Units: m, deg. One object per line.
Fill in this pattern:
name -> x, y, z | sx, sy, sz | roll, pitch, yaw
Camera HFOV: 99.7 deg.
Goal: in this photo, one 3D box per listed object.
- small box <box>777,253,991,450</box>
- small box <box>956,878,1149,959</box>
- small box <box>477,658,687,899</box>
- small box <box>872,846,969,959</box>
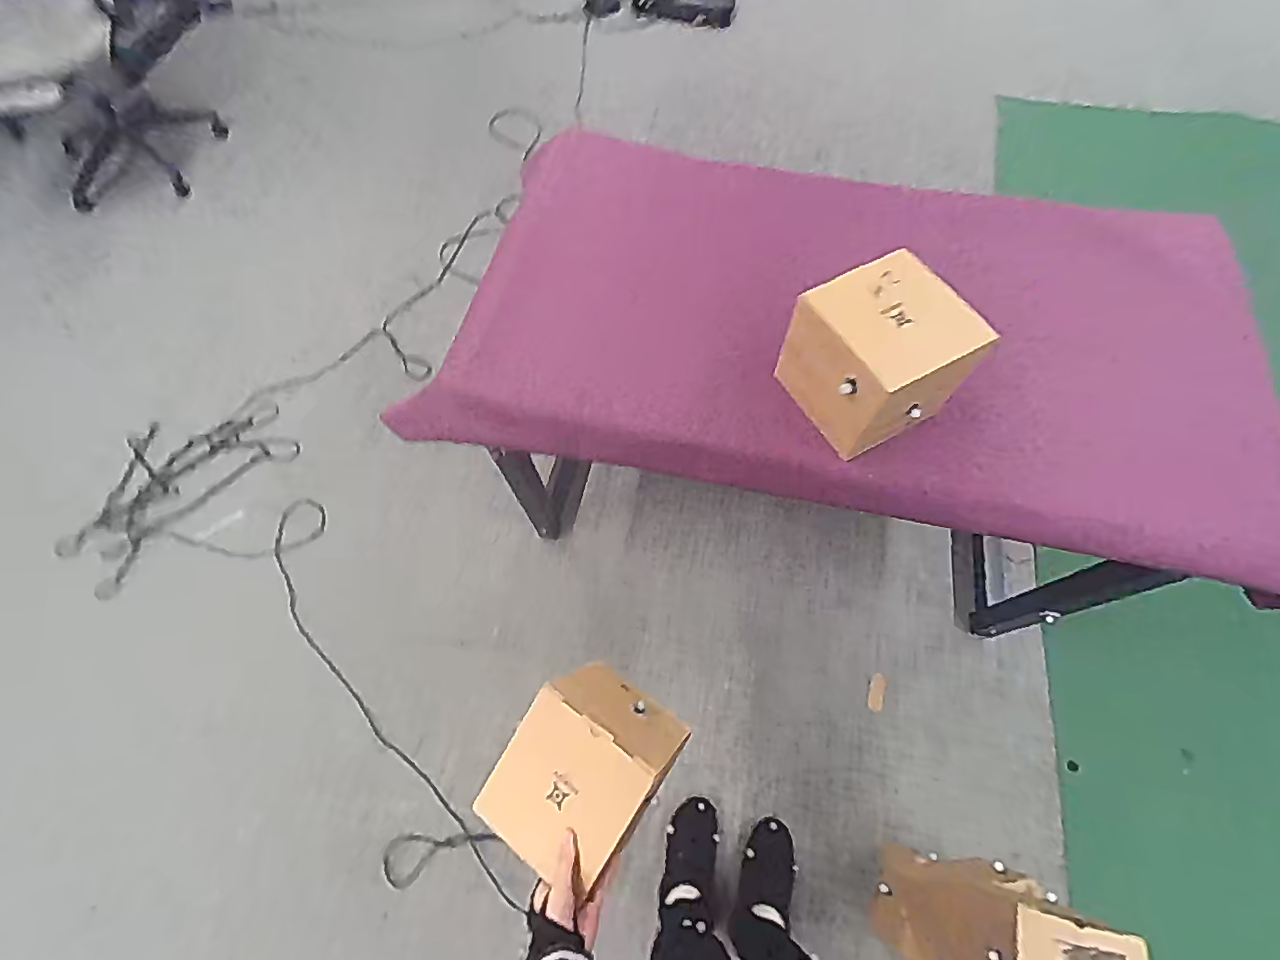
small box -> 0.312, -0.162, 0.734 | 0.168, 0.176, 0.179 | -26, 66, -11
small box -> 0.568, 0.697, 0.759 | 0.168, 0.176, 0.179 | 12, 67, 7
small box -> -0.061, 0.352, 0.680 | 0.168, 0.176, 0.179 | 31, 92, 21
small box -> 0.577, 0.844, 1.053 | 0.179, 0.176, 0.168 | 20, 67, 11
